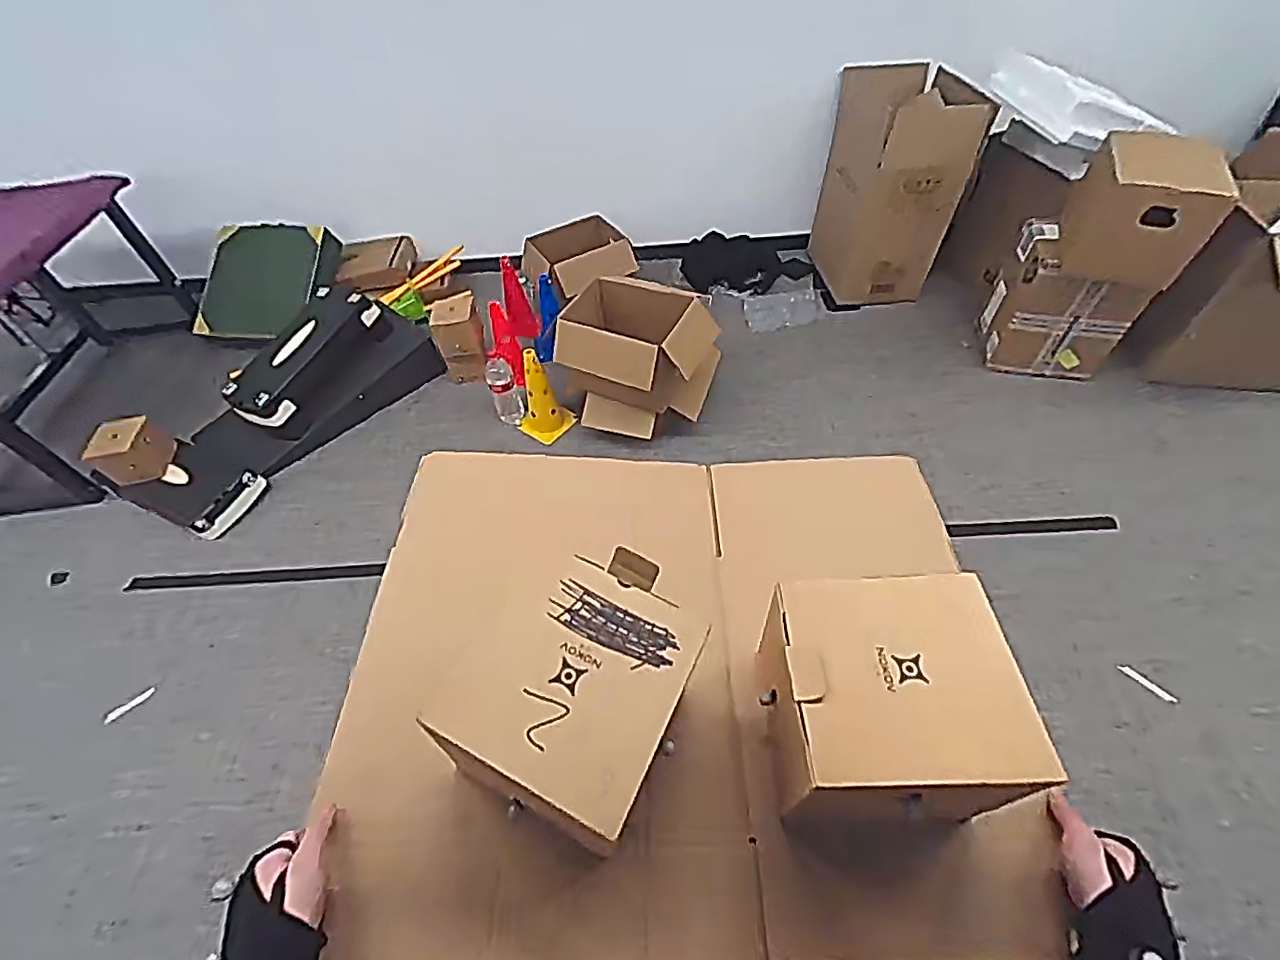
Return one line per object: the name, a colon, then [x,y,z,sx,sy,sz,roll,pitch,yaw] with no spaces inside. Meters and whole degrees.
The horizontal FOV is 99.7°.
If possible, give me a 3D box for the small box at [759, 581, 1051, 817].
small box: [0.218,0.207,0.506,0.179,0.176,0.168,-2,51,3]
